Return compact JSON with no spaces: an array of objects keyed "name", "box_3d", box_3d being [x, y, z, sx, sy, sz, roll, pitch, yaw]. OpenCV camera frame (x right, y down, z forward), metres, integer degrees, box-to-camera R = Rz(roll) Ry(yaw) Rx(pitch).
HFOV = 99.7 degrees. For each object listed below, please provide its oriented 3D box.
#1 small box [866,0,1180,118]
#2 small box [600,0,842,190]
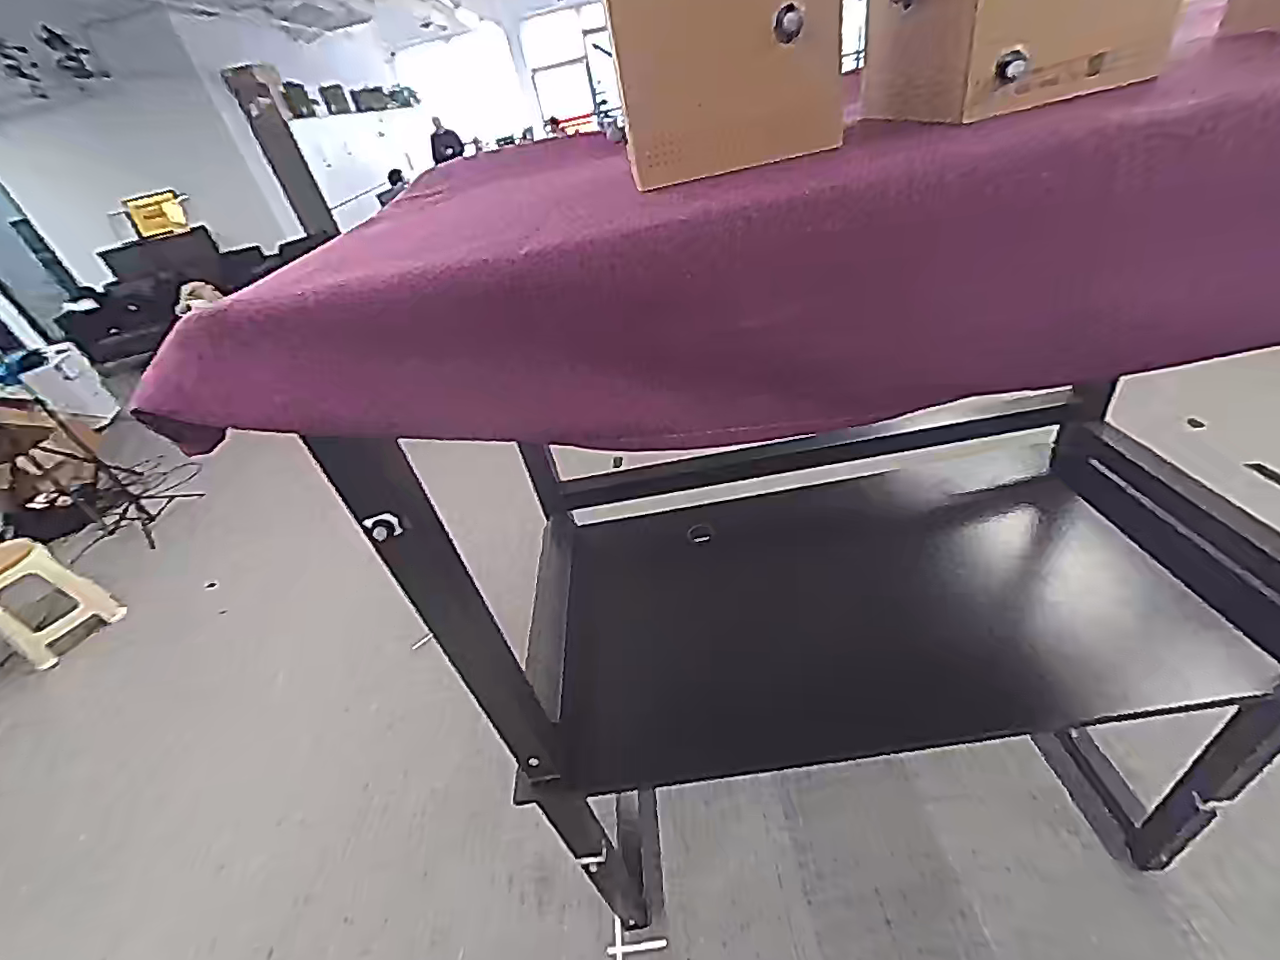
[{"name":"small box","box_3d":[0.302,-0.409,0.437,0.168,0.176,0.179,-13,35,0]},{"name":"small box","box_3d":[0.062,-0.368,0.463,0.179,0.176,0.168,-11,35,4]}]
